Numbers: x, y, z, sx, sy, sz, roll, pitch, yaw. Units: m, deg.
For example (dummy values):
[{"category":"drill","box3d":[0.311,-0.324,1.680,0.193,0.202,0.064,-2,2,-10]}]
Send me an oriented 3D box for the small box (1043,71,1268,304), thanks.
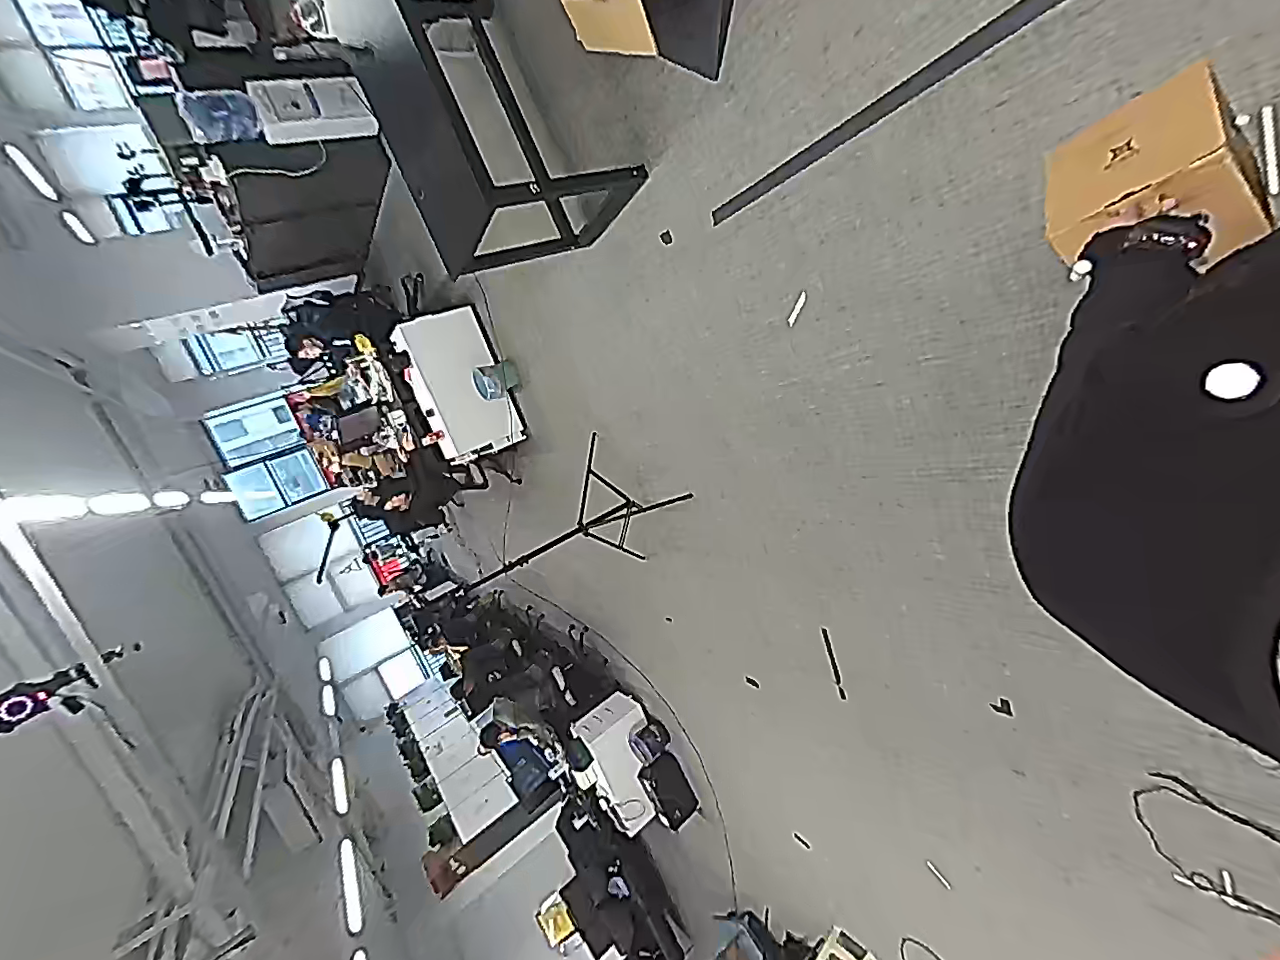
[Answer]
[{"category":"small box","box3d":[0.657,-0.357,0.699,0.176,0.179,0.168,33,153,-22]}]
